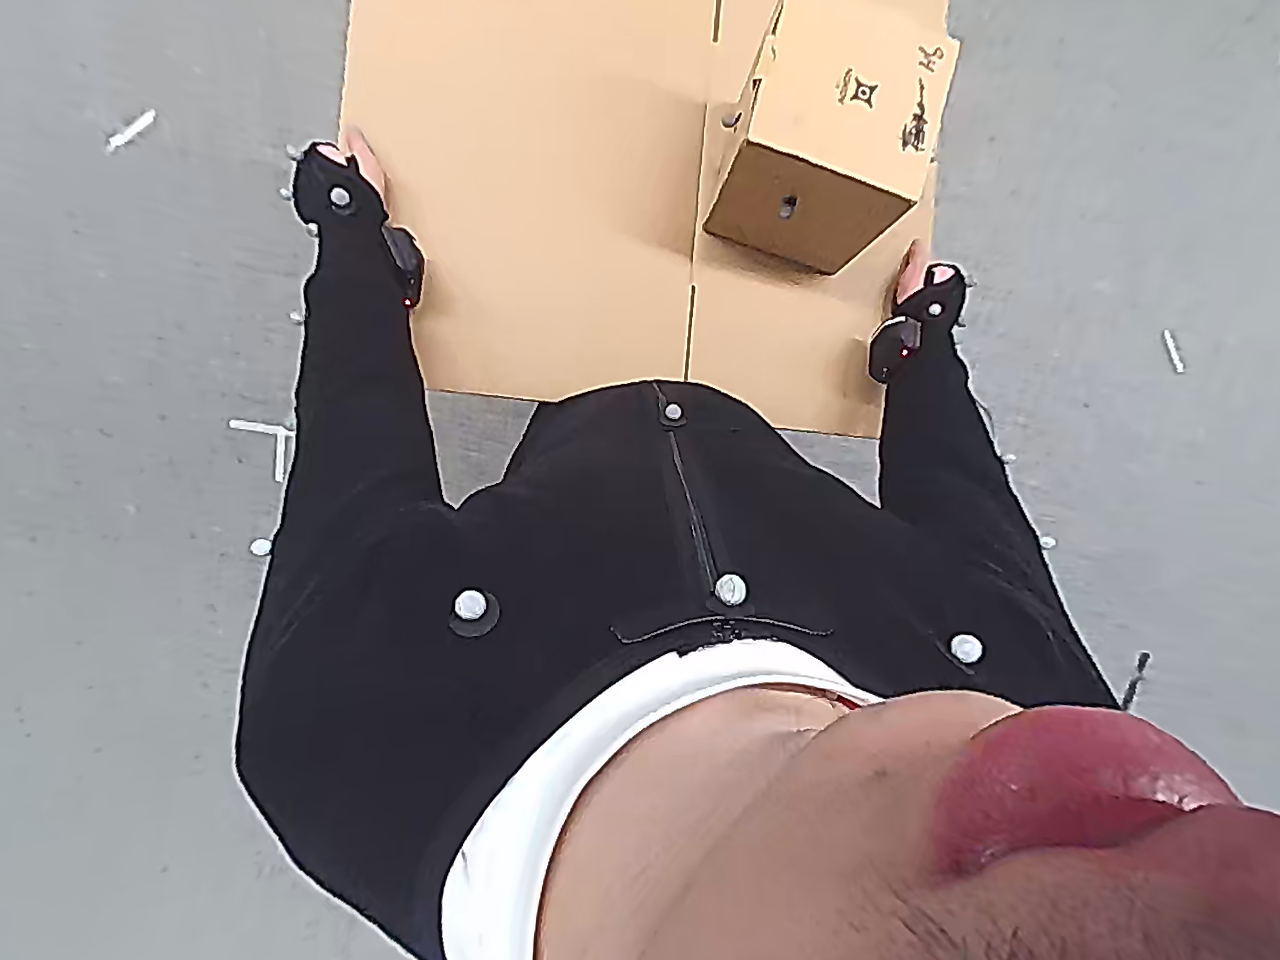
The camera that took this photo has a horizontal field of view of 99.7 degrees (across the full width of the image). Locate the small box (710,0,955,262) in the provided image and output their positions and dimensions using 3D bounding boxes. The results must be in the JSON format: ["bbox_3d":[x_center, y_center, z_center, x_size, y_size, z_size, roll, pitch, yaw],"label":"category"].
[{"bbox_3d":[0.189,-0.363,0.583,0.179,0.176,0.168,16,87,-5],"label":"small box"}]
